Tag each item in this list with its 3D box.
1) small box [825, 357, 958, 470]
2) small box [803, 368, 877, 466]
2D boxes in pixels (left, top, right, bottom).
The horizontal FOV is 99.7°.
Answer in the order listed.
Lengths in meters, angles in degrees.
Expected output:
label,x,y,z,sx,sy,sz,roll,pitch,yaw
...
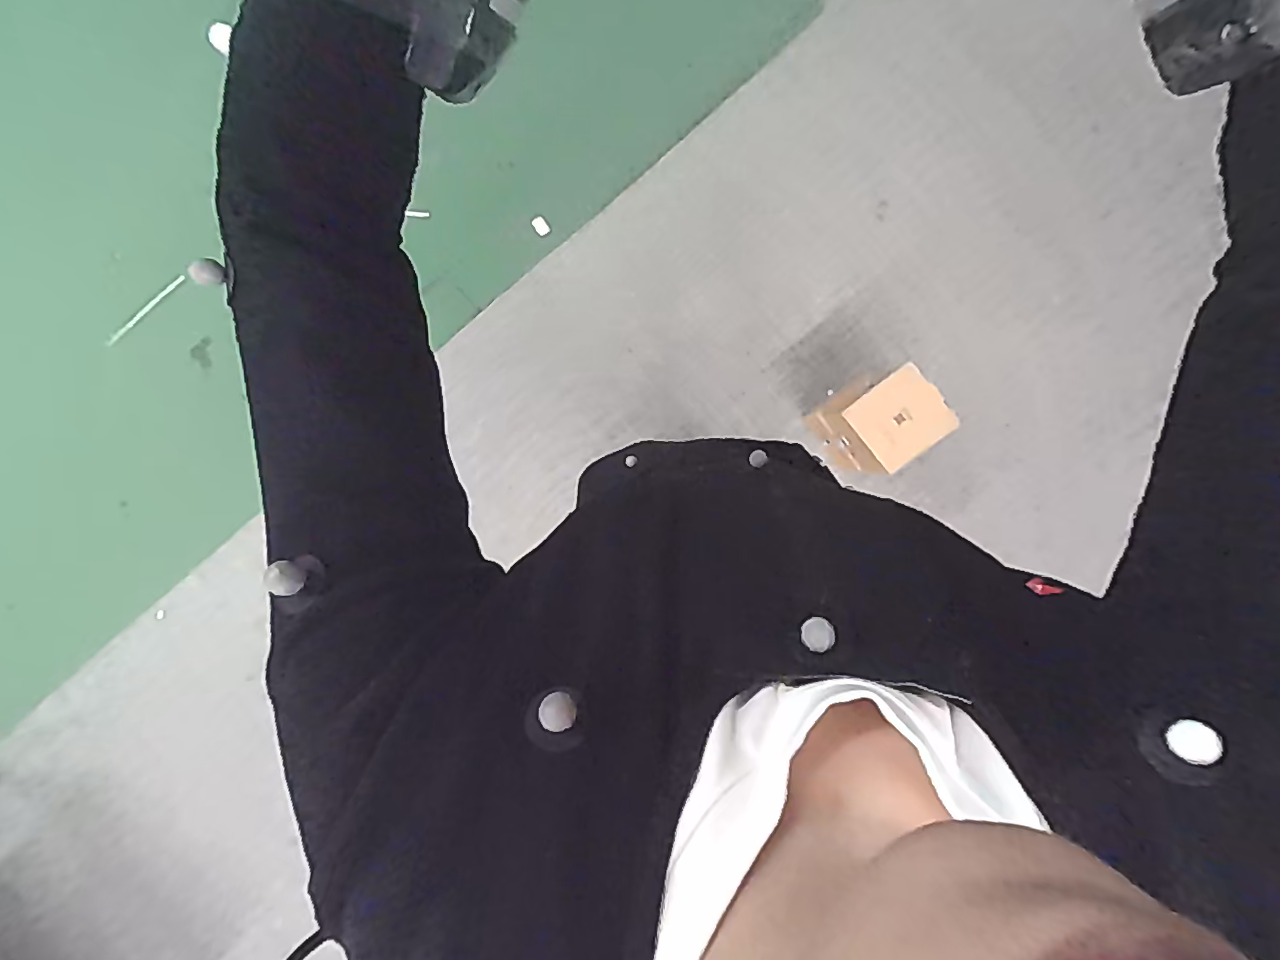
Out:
label,x,y,z,sx,sy,sz,roll,pitch,yaw
small box,0.535,-0.138,1.180,0.179,0.176,0.168,-38,88,6
small box,0.533,-0.151,1.341,0.168,0.176,0.179,-37,88,5
